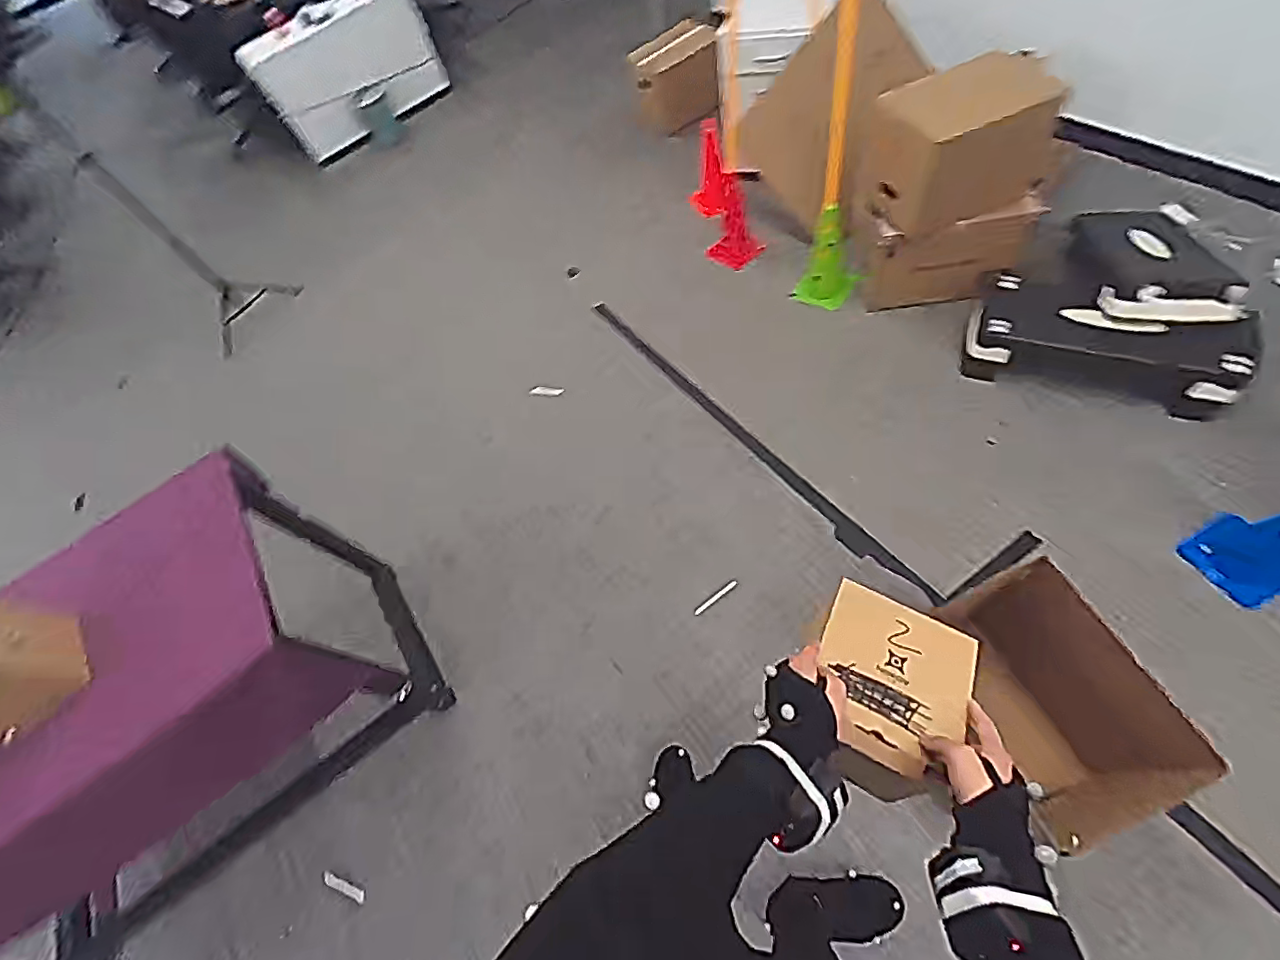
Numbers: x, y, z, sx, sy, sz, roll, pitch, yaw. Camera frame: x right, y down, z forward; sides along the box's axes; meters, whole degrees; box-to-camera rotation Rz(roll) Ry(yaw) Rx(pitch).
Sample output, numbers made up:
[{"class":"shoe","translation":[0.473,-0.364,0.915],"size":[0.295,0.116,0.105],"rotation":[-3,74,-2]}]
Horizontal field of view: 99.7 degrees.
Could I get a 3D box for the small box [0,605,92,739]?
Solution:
[{"class":"small box","translation":[-1.190,0.361,1.011],"size":[0.168,0.176,0.179],"rotation":[-44,59,-13]}]
